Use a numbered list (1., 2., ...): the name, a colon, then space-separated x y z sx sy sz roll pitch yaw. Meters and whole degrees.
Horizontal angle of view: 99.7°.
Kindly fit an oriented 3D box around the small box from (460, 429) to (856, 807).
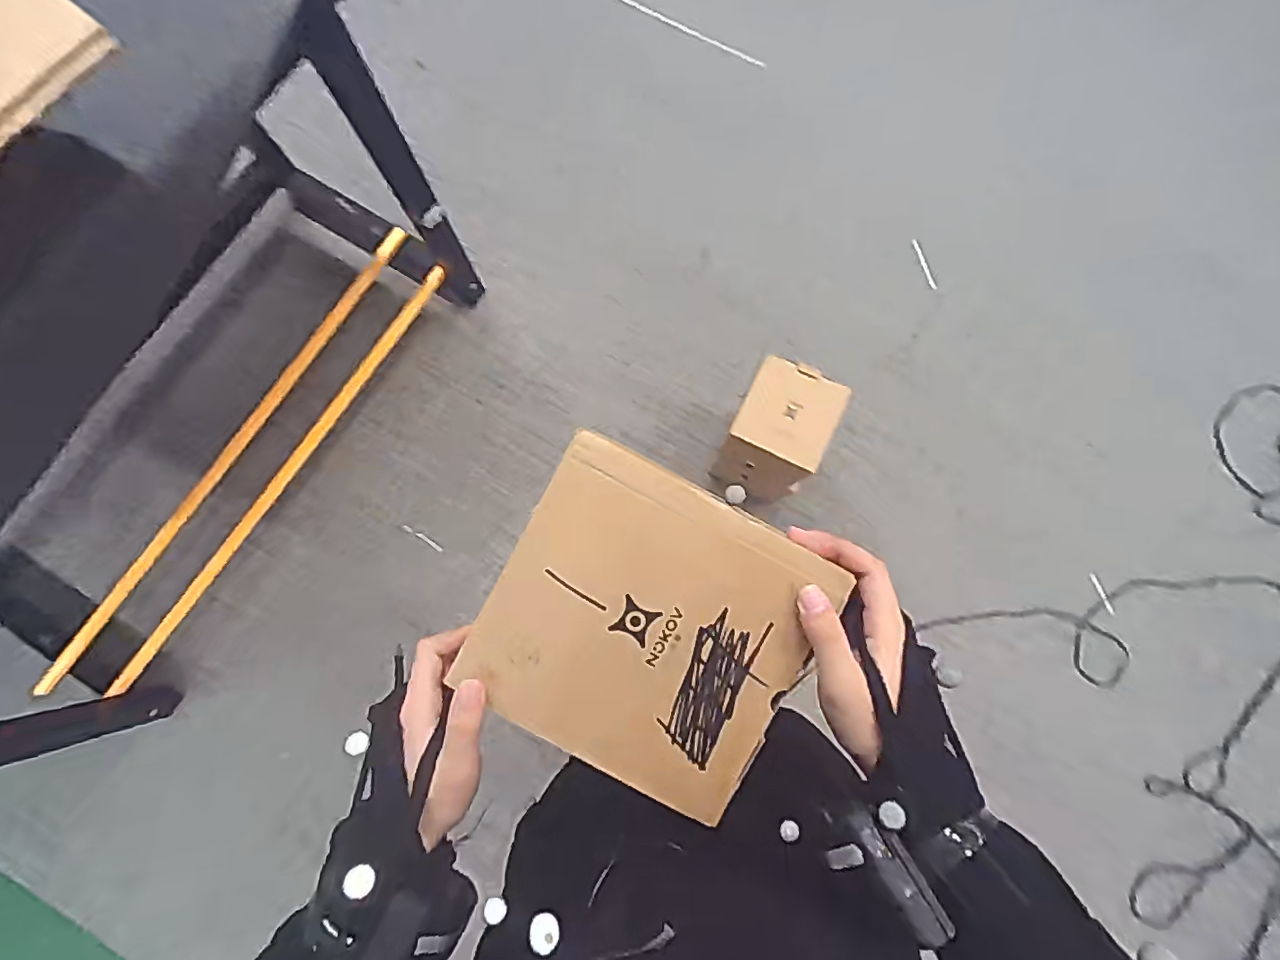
1. small box: 0.011 0.076 0.389 0.179 0.176 0.168 30 93 0

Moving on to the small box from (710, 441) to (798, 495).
1. small box: 0.270 -0.078 1.200 0.179 0.176 0.168 25 81 4

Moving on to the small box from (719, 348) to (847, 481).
1. small box: 0.265 -0.117 1.041 0.168 0.176 0.179 25 81 5
